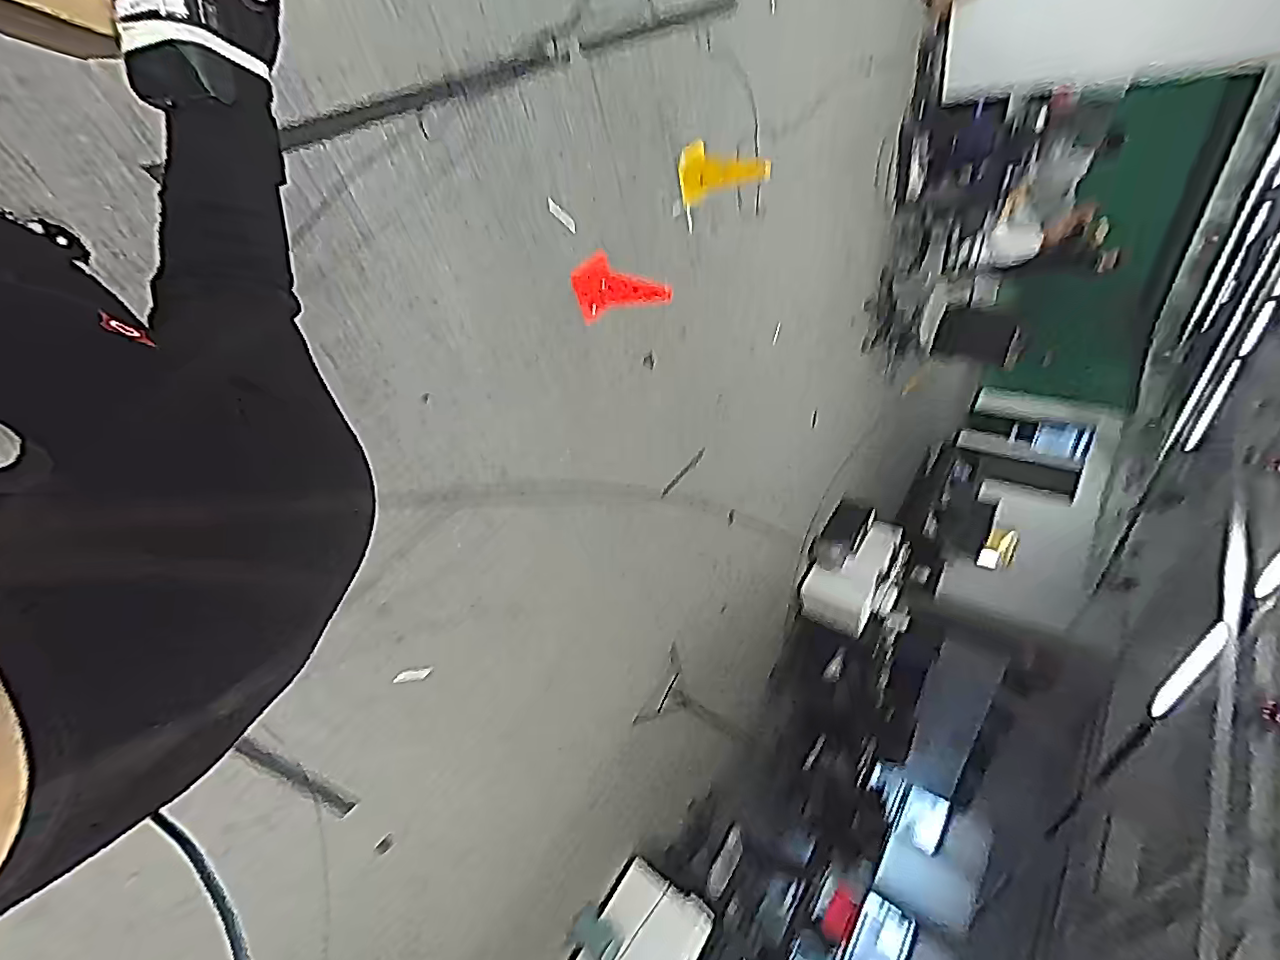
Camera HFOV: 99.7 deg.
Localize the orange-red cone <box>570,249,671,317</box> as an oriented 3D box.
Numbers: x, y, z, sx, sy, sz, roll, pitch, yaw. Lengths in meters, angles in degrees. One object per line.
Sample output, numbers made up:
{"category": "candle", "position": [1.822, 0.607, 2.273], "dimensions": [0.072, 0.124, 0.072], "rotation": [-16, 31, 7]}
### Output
{"category": "orange-red cone", "position": [-0.044, -0.699, 1.942], "dimensions": [0.199, 0.360, 0.198], "rotation": [-50, 141, -29]}
